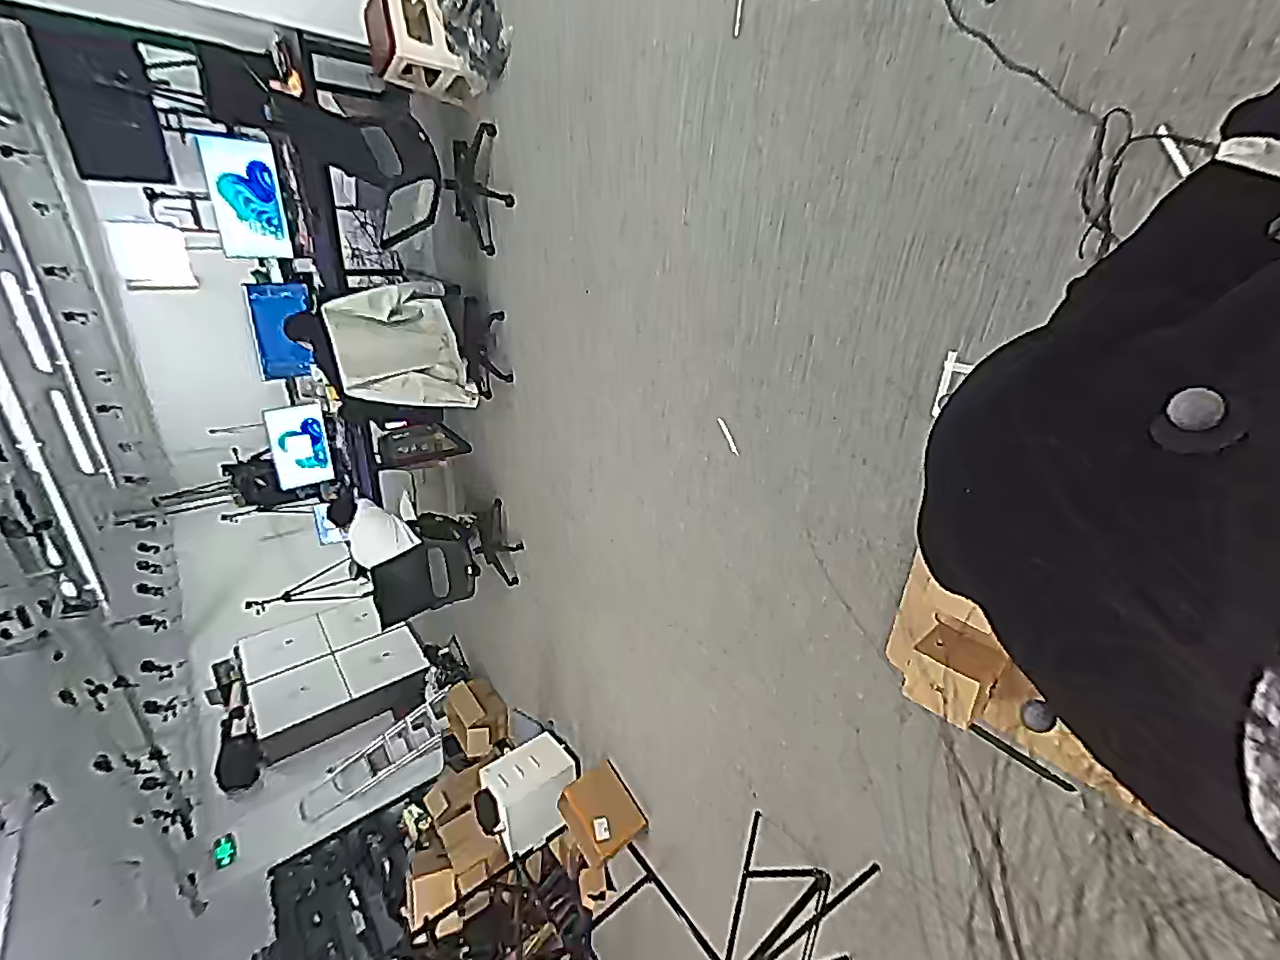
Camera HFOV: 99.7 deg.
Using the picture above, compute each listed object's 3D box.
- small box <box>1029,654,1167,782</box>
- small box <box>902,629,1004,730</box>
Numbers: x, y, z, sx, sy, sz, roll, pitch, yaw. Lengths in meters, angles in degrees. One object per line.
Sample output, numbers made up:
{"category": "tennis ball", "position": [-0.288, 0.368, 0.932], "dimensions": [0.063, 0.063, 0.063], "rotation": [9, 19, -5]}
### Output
{"category": "small box", "position": [1.050, 0.535, 1.239], "dimensions": [0.179, 0.176, 0.168], "rotation": [38, 130, 36]}
{"category": "small box", "position": [0.861, 0.538, 1.492], "dimensions": [0.179, 0.176, 0.168], "rotation": [24, 123, 46]}
